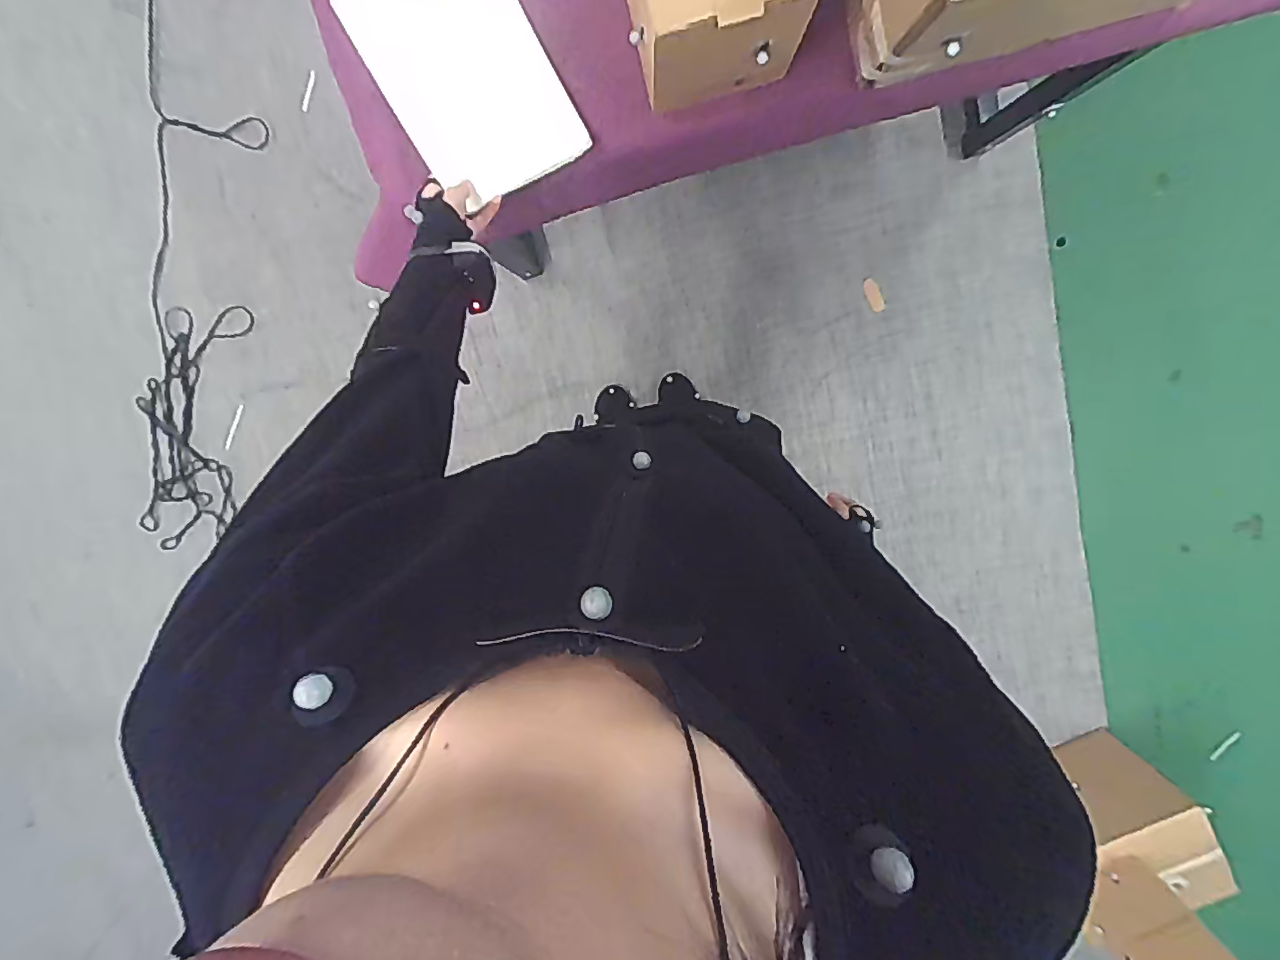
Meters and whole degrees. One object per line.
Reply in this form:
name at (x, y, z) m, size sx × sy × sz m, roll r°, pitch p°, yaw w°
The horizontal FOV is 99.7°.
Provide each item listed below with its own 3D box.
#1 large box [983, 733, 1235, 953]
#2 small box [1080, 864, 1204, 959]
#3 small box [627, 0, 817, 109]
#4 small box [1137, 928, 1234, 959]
large box at (1.320, 1.025, 1.561) m, size 0.408 × 0.320 × 0.320 m, roll -30°, pitch 101°, yaw 6°
small box at (1.234, 1.101, 1.328) m, size 0.179 × 0.176 × 0.168 m, roll -25°, pitch 100°, yaw 6°
small box at (0.074, -0.530, 0.572) m, size 0.168 × 0.176 × 0.179 m, roll -14°, pitch 100°, yaw 3°
small box at (1.231, 1.133, 1.166) m, size 0.179 × 0.176 × 0.168 m, roll -29°, pitch 100°, yaw 5°
